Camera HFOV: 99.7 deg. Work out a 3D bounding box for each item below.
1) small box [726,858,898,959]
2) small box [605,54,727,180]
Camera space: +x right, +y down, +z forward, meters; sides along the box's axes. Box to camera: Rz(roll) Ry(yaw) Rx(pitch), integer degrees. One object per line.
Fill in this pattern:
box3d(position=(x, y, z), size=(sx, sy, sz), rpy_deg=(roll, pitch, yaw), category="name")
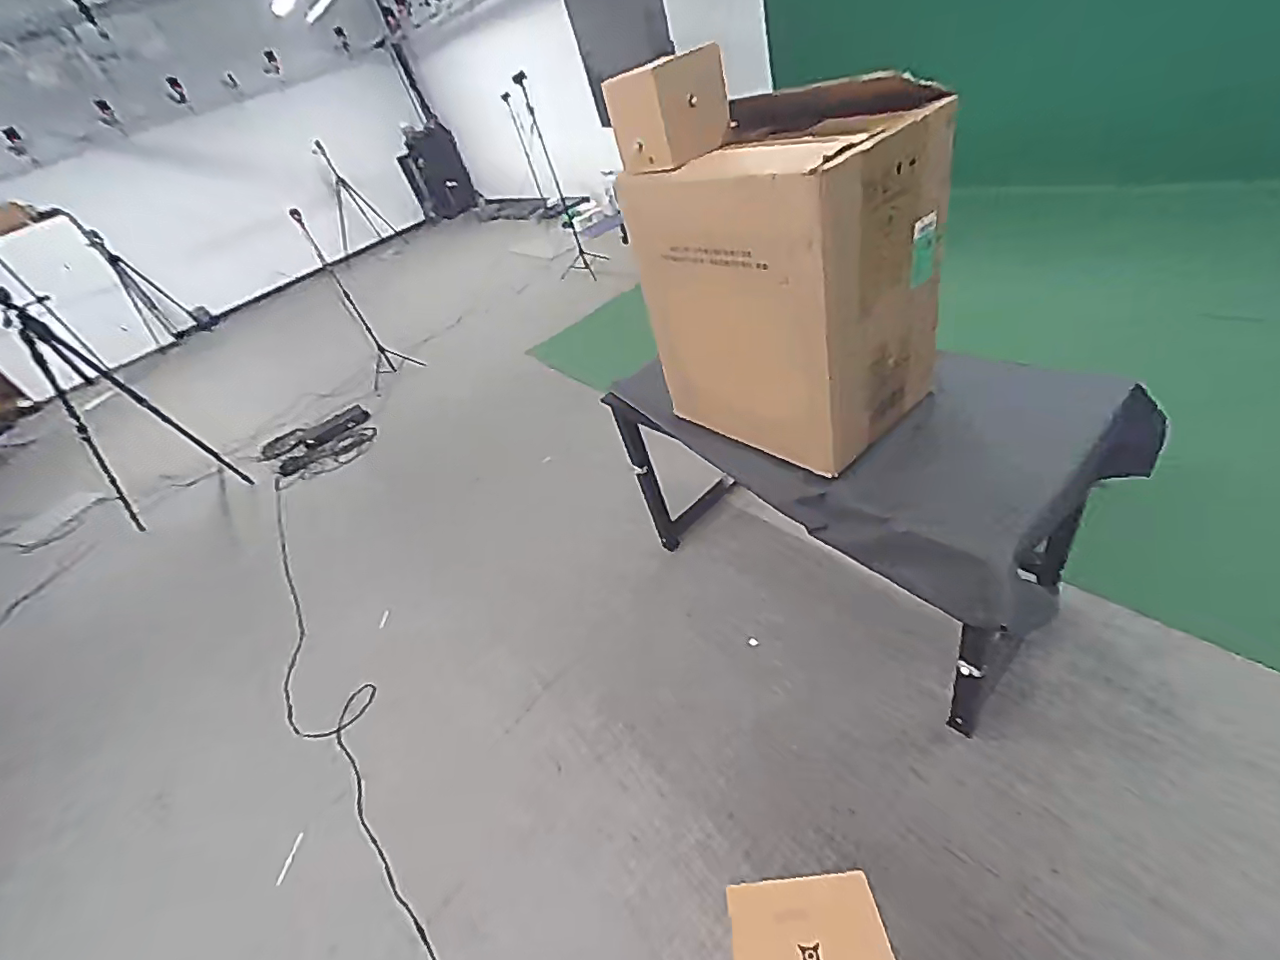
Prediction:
box3d(position=(0.197, 0.563, 0.585), size=(0.168, 0.176, 0.179), rpy_deg=(-11, 14, 5), category="small box")
box3d(position=(0.061, -0.738, 1.112), size=(0.179, 0.176, 0.168), rpy_deg=(-37, 39, -20), category="small box")
